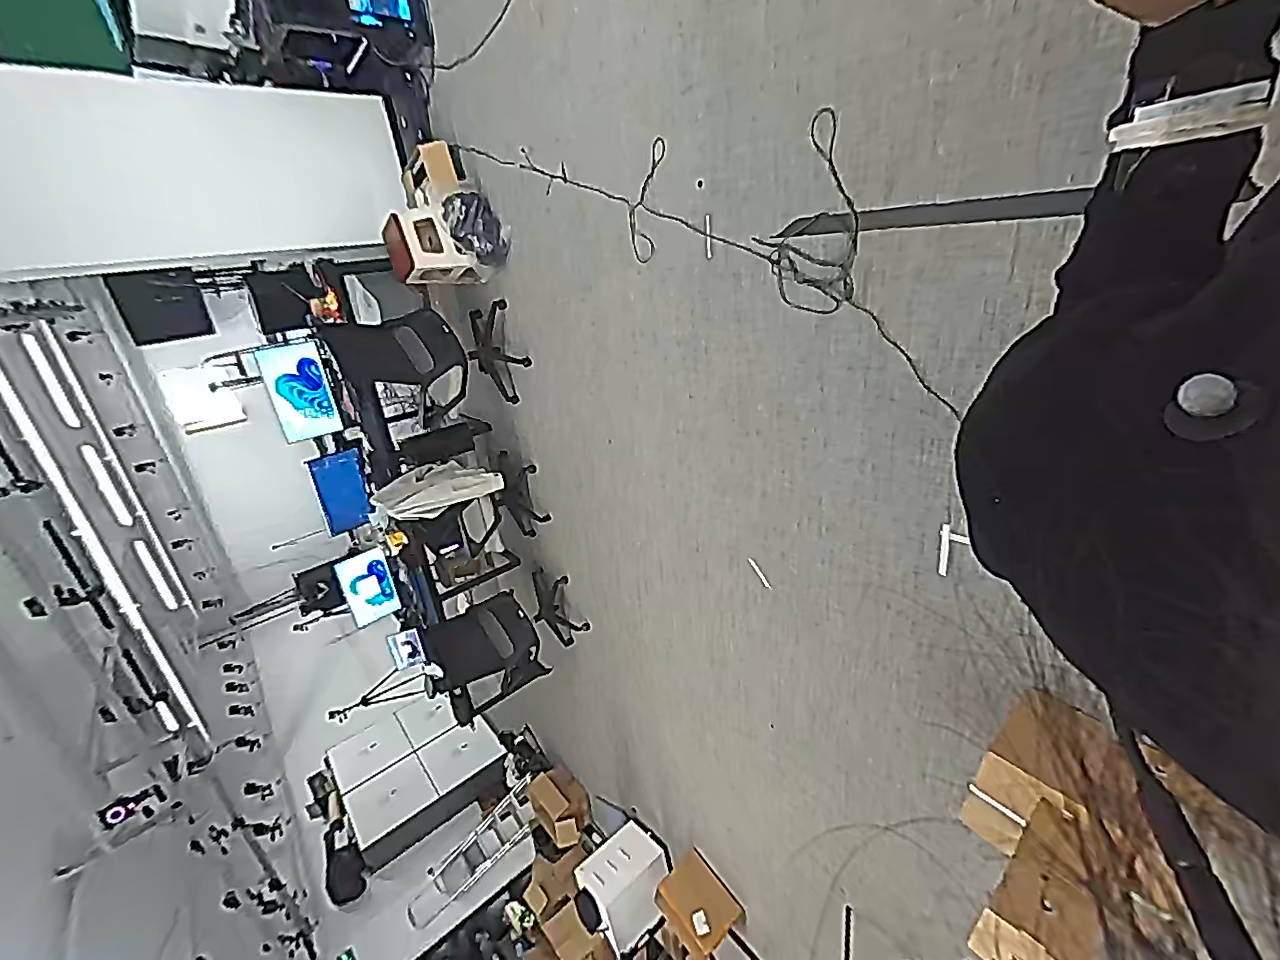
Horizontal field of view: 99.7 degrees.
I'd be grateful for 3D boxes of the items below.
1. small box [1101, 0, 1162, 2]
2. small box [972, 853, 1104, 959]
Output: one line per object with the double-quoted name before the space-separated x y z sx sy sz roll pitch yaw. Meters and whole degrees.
"small box" 0.260 -0.312 0.184 0.168 0.176 0.179 -5 110 51
"small box" 0.845 0.950 1.147 0.168 0.176 0.179 27 129 44
